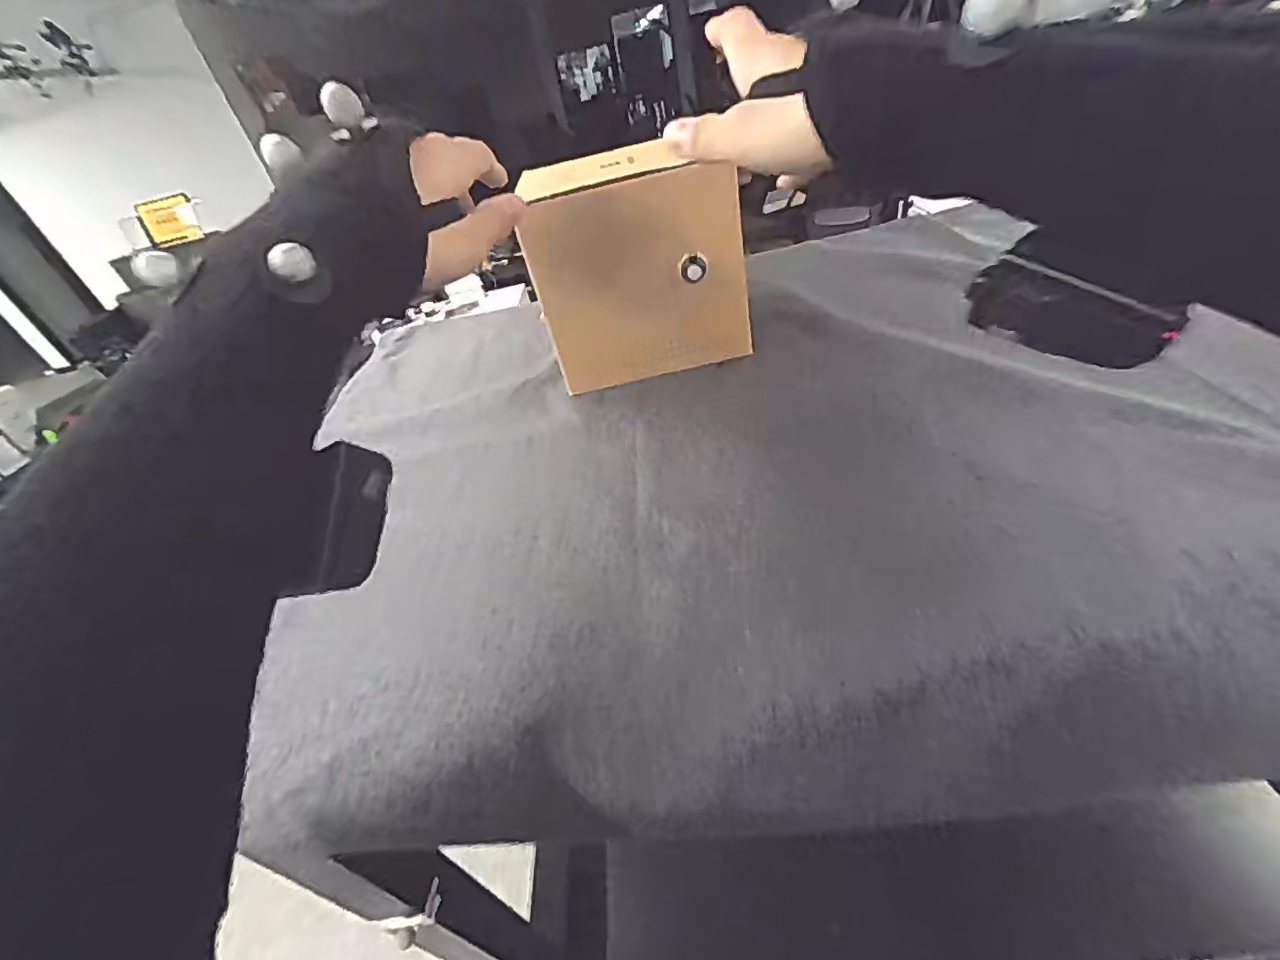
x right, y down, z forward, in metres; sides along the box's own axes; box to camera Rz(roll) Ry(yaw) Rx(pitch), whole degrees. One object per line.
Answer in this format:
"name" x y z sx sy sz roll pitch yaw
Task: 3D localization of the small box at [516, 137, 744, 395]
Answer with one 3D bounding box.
"small box" -0.003 -0.203 0.515 0.179 0.176 0.168 -12 38 2
